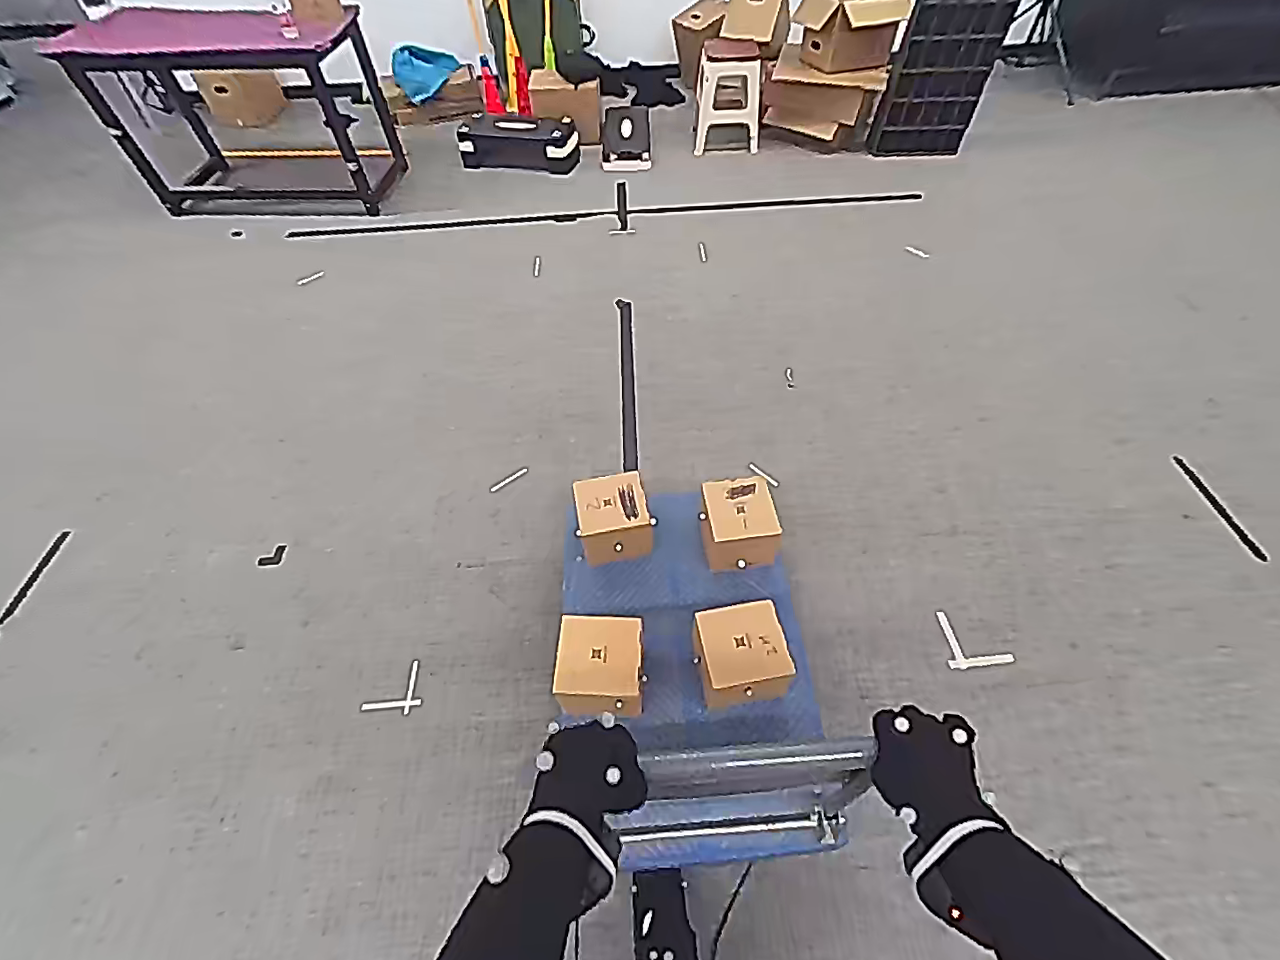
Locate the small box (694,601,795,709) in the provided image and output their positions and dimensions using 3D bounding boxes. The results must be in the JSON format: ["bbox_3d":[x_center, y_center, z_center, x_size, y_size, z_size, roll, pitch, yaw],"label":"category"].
[{"bbox_3d":[0.219,0.388,1.190,0.179,0.176,0.168,-10,54,-4],"label":"small box"}]

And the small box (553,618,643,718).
[{"bbox_3d":[-0.084,0.415,1.184,0.179,0.176,0.168,1,53,1],"label":"small box"}]

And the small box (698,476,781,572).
[{"bbox_3d":[0.246,0.116,1.390,0.168,0.176,0.179,-8,55,-2],"label":"small box"}]
